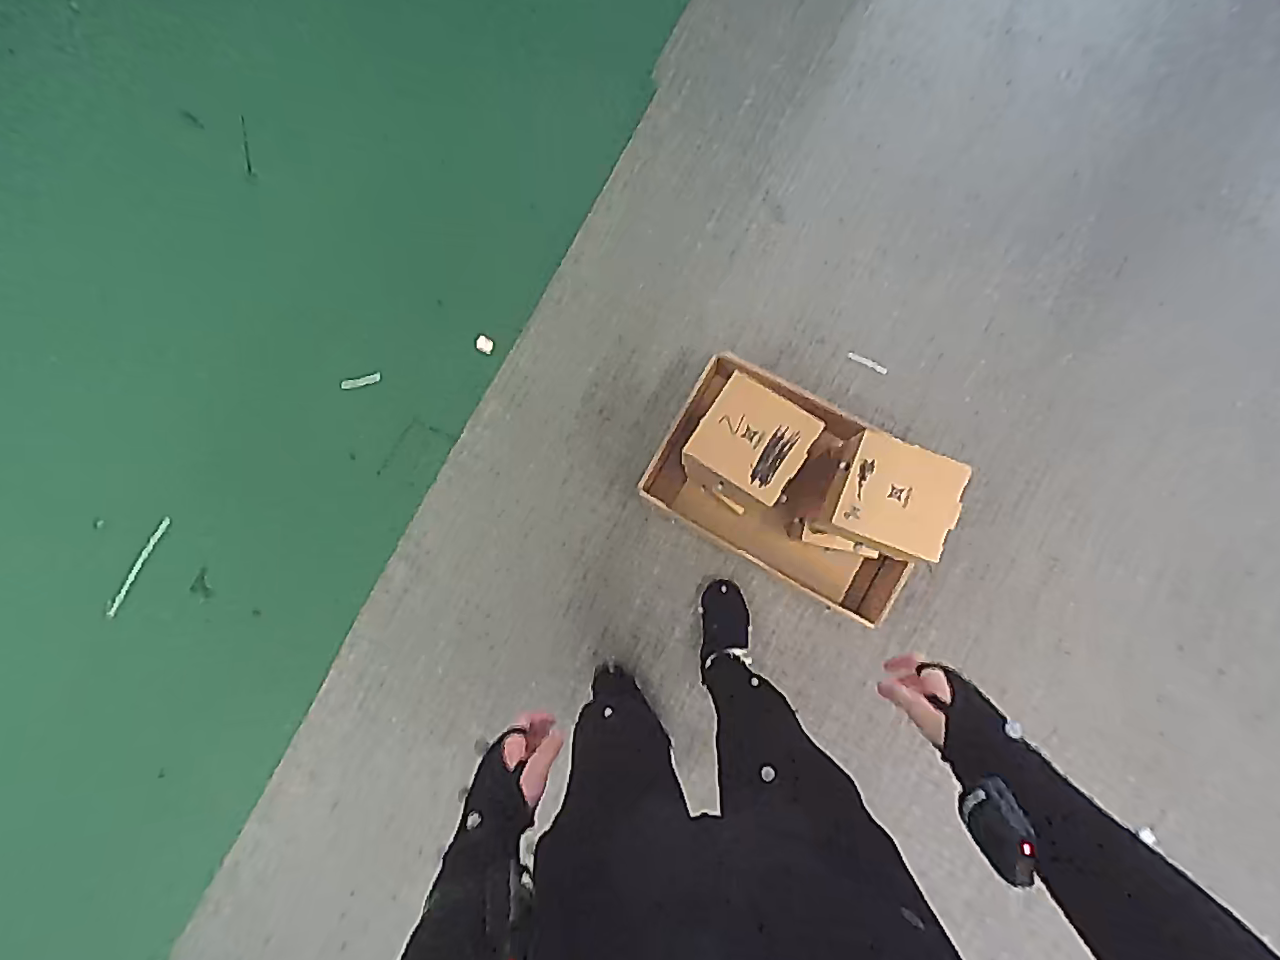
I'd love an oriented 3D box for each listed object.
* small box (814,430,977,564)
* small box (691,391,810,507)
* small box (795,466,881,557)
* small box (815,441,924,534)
[{"bbox_3d":[0.425,0.030,0.930,0.179,0.176,0.168,22,87,7],"label":"small box"},{"bbox_3d":[0.218,-0.054,1.123,0.179,0.176,0.168,33,87,6],"label":"small box"},{"bbox_3d":[0.465,0.072,1.251,0.168,0.176,0.179,13,85,7],"label":"small box"},{"bbox_3d":[0.456,0.024,1.092,0.168,0.176,0.179,3,84,6],"label":"small box"}]
